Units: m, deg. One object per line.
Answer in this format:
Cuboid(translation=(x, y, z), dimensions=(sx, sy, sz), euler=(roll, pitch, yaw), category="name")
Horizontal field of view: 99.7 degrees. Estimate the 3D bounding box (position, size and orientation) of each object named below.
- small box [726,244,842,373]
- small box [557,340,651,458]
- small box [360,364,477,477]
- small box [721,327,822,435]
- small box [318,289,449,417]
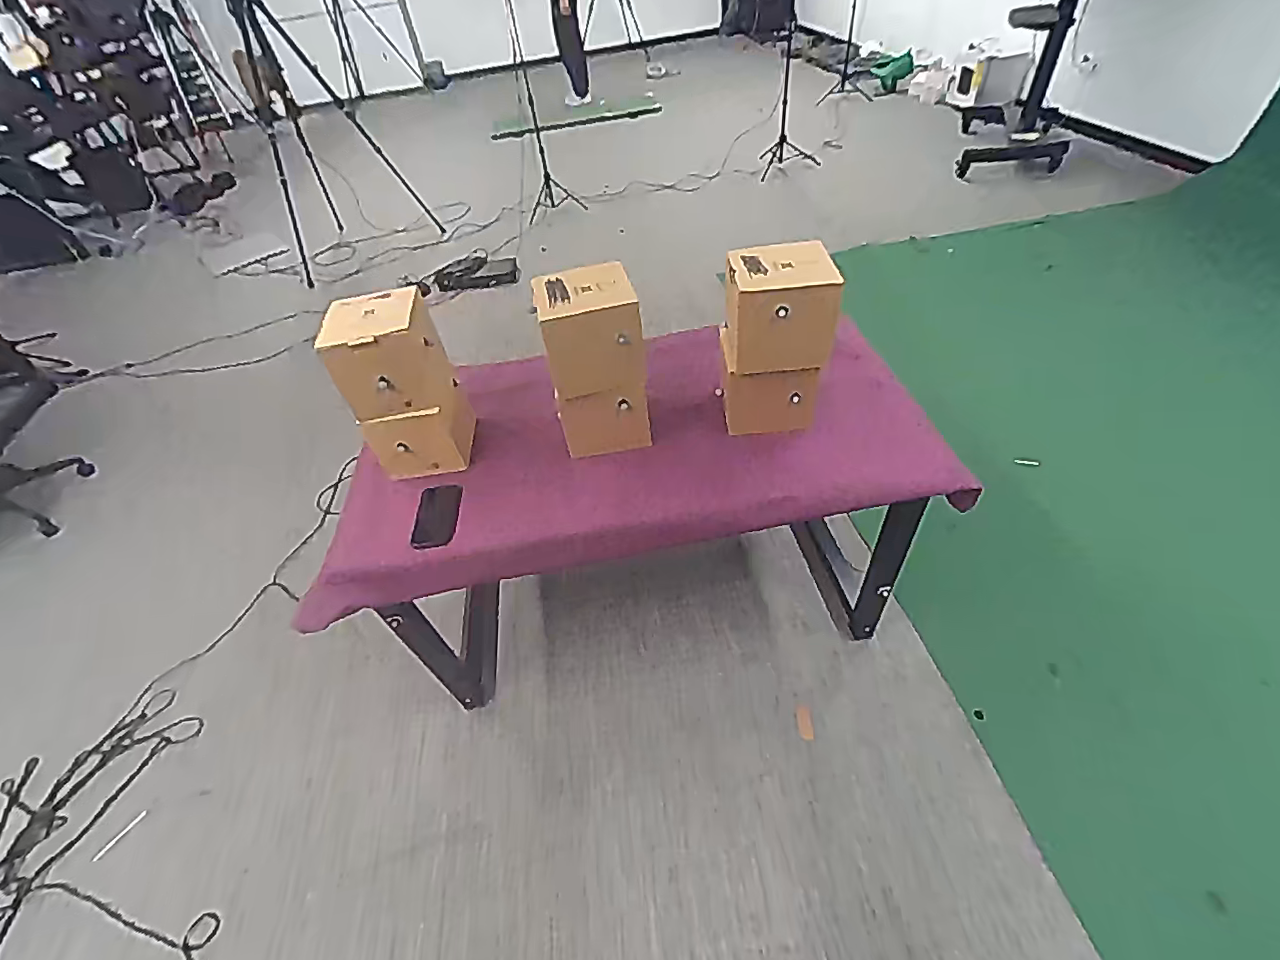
Cuboid(translation=(0.256, -0.314, 1.002), dimensions=(0.179, 0.176, 0.168), euler=(-4, 46, 4), category="small box")
Cuboid(translation=(-0.073, -0.168, 1.140), dimensions=(0.179, 0.176, 0.168), euler=(-9, 46, 0), category="small box")
Cuboid(translation=(-0.461, -0.120, 1.157), dimensions=(0.168, 0.176, 0.179), euler=(-9, 46, 1), category="small box")
Cuboid(translation=(0.265, -0.211, 1.131), dimensions=(0.179, 0.176, 0.168), euler=(-5, 46, 5), category="small box")
Cuboid(translation=(-0.481, -0.239, 1.044), dimensions=(0.168, 0.176, 0.179), euler=(-12, 47, -4), category="small box")
